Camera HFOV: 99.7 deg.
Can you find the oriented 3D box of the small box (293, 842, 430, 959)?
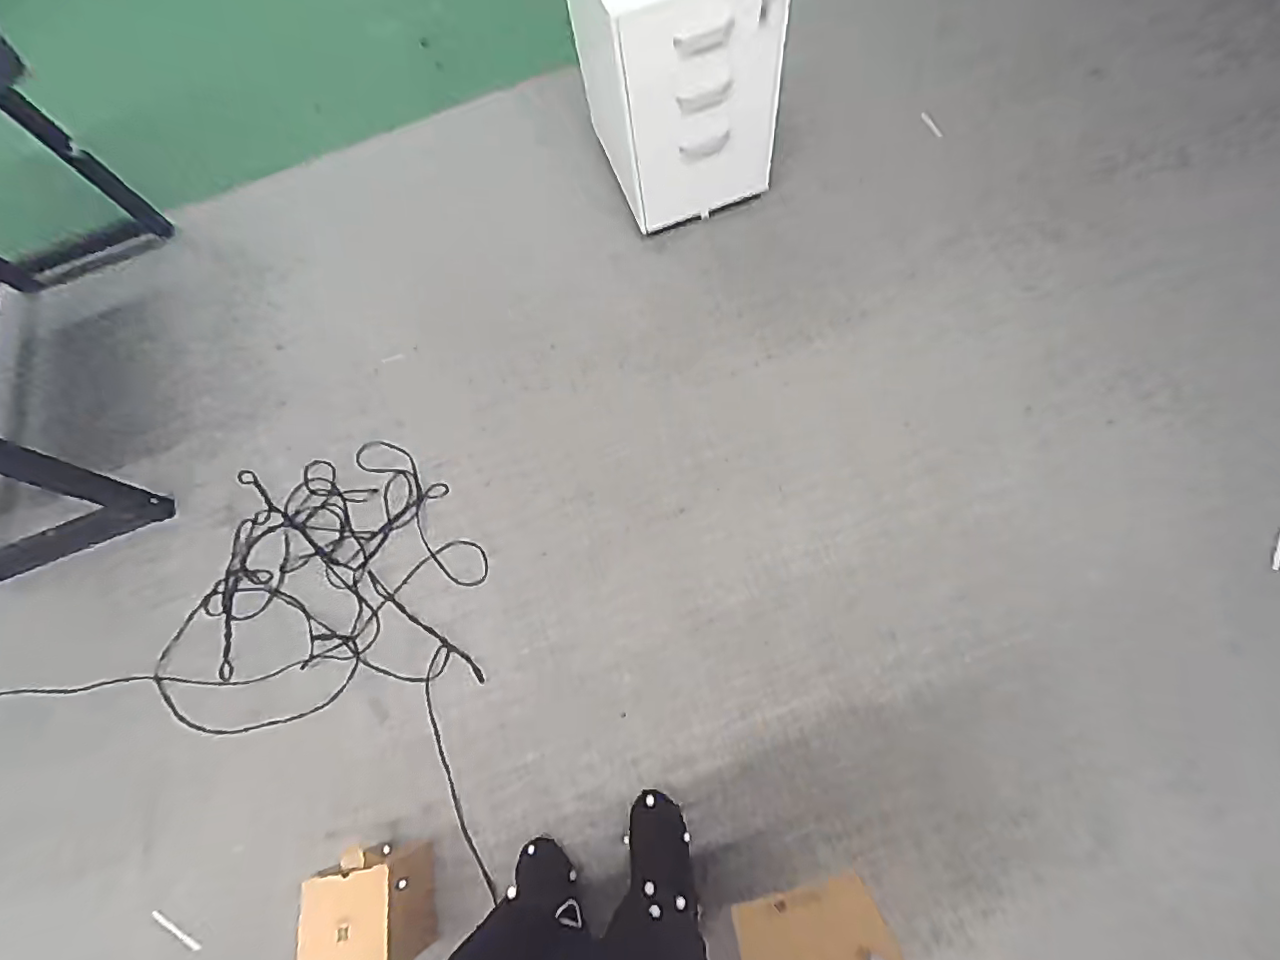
[{"bbox_3d":[-0.505,0.802,1.002,0.168,0.176,0.179,-11,66,2],"label":"small box"}]
